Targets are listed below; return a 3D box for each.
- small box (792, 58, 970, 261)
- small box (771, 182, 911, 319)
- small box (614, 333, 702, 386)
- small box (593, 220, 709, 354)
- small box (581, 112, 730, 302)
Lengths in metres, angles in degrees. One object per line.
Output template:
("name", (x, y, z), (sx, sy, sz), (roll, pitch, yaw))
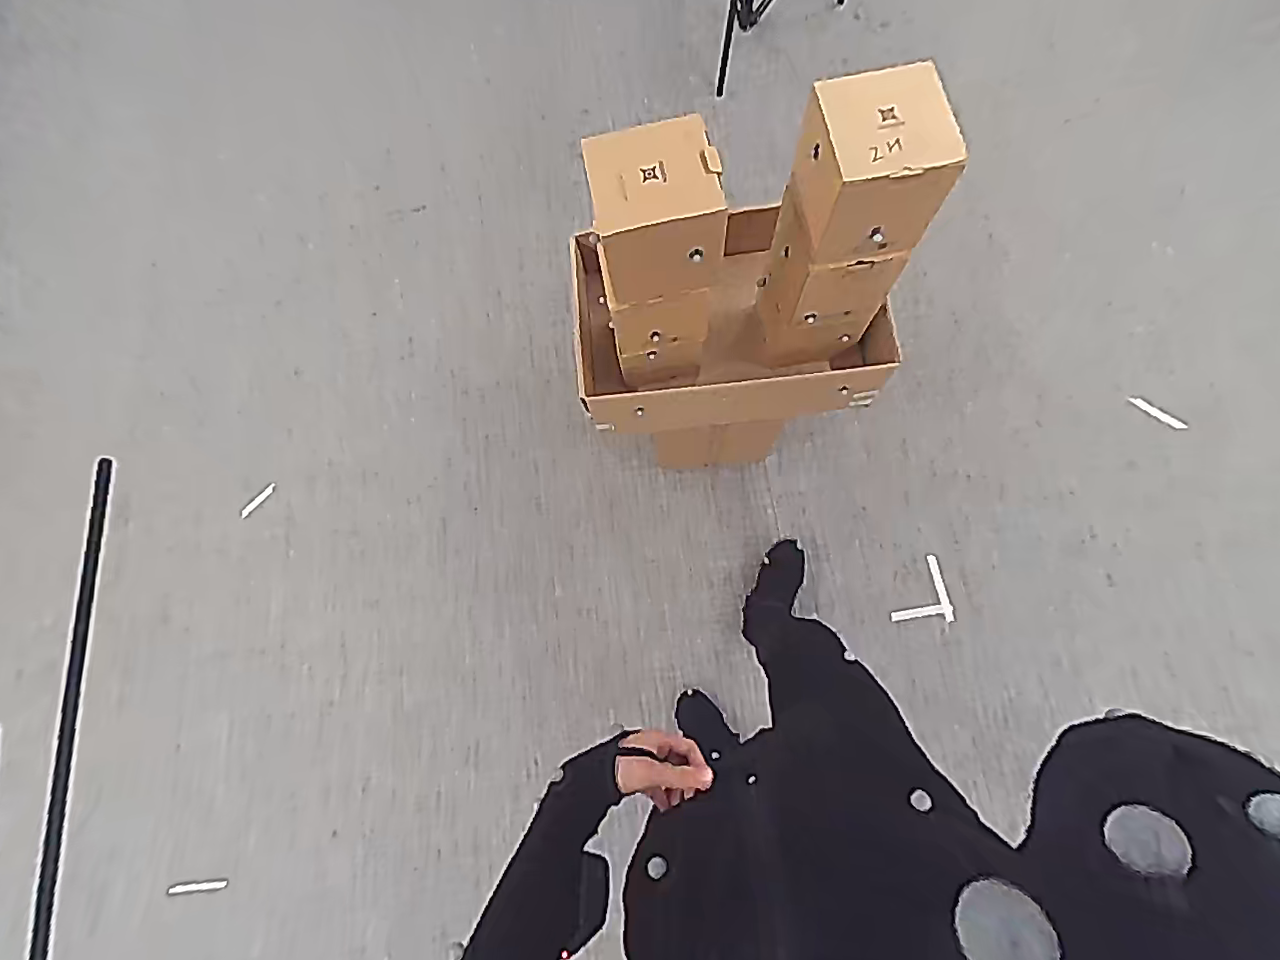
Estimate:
("small box", (0.332, -0.453, 0.784), (0.168, 0.176, 0.179), (-9, 76, 2))
("small box", (0.336, -0.398, 0.939), (0.168, 0.176, 0.179), (-10, 75, 1))
("small box", (0.030, -0.316, 1.115), (0.168, 0.176, 0.179), (-9, 75, 3))
("small box", (0.020, -0.350, 0.956), (0.168, 0.176, 0.179), (-12, 77, 1))
("small box", (0.022, -0.390, 0.796), (0.179, 0.176, 0.168), (-12, 76, 1))
